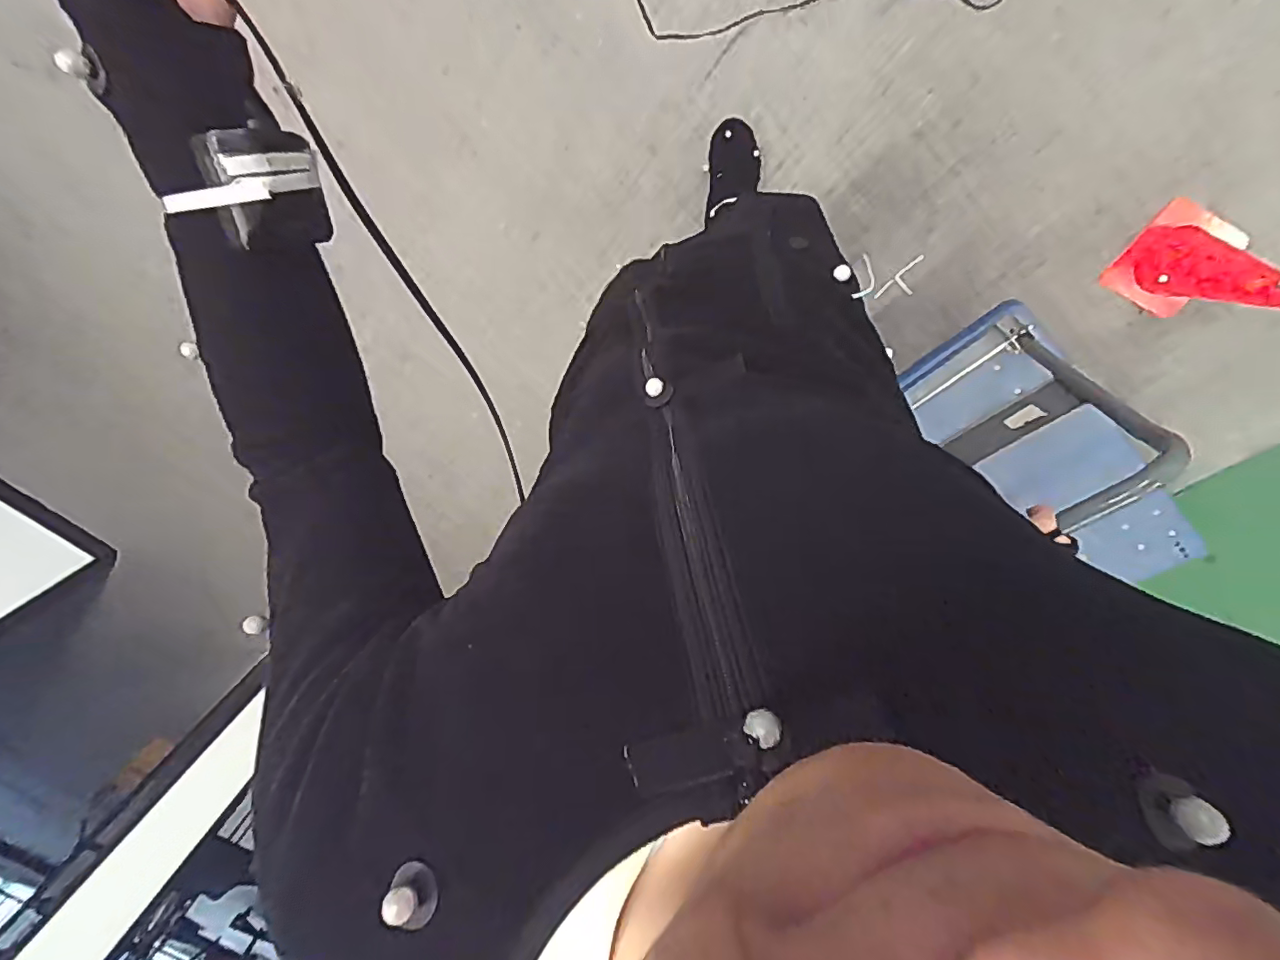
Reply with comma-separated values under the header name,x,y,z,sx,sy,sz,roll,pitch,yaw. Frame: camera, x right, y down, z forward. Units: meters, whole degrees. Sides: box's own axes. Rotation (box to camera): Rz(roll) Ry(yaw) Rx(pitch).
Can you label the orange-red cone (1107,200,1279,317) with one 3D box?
name,x,y,z,sx,sy,sz,roll,pitch,yaw
orange-red cone,1.160,-0.400,1.060,0.198,0.360,0.199,28,122,-6
